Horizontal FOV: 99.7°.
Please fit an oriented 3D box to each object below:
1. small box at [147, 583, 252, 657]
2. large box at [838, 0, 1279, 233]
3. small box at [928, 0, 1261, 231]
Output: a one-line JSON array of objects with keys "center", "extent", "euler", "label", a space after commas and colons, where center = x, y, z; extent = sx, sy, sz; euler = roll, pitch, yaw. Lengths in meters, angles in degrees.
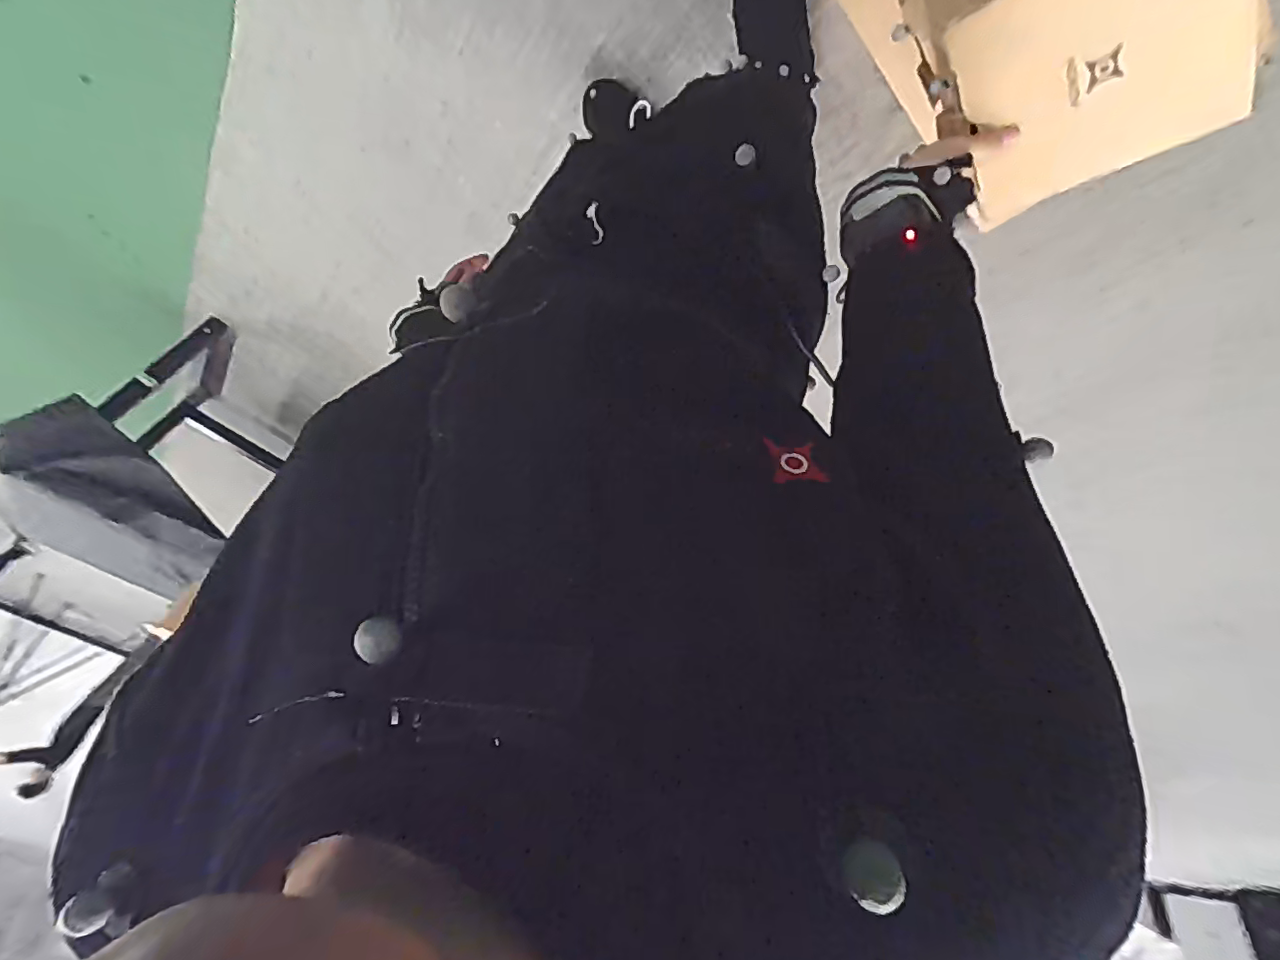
[{"center": [-1.372, 0.433, 1.689], "extent": [0.168, 0.176, 0.179], "euler": [-18, 130, 39], "label": "small box"}, {"center": [0.509, -0.641, 0.720], "extent": [0.408, 0.320, 0.320], "euler": [37, 139, -25], "label": "large box"}, {"center": [0.365, -0.359, 0.460], "extent": [0.179, 0.176, 0.168], "euler": [-14, 132, 33], "label": "small box"}]
